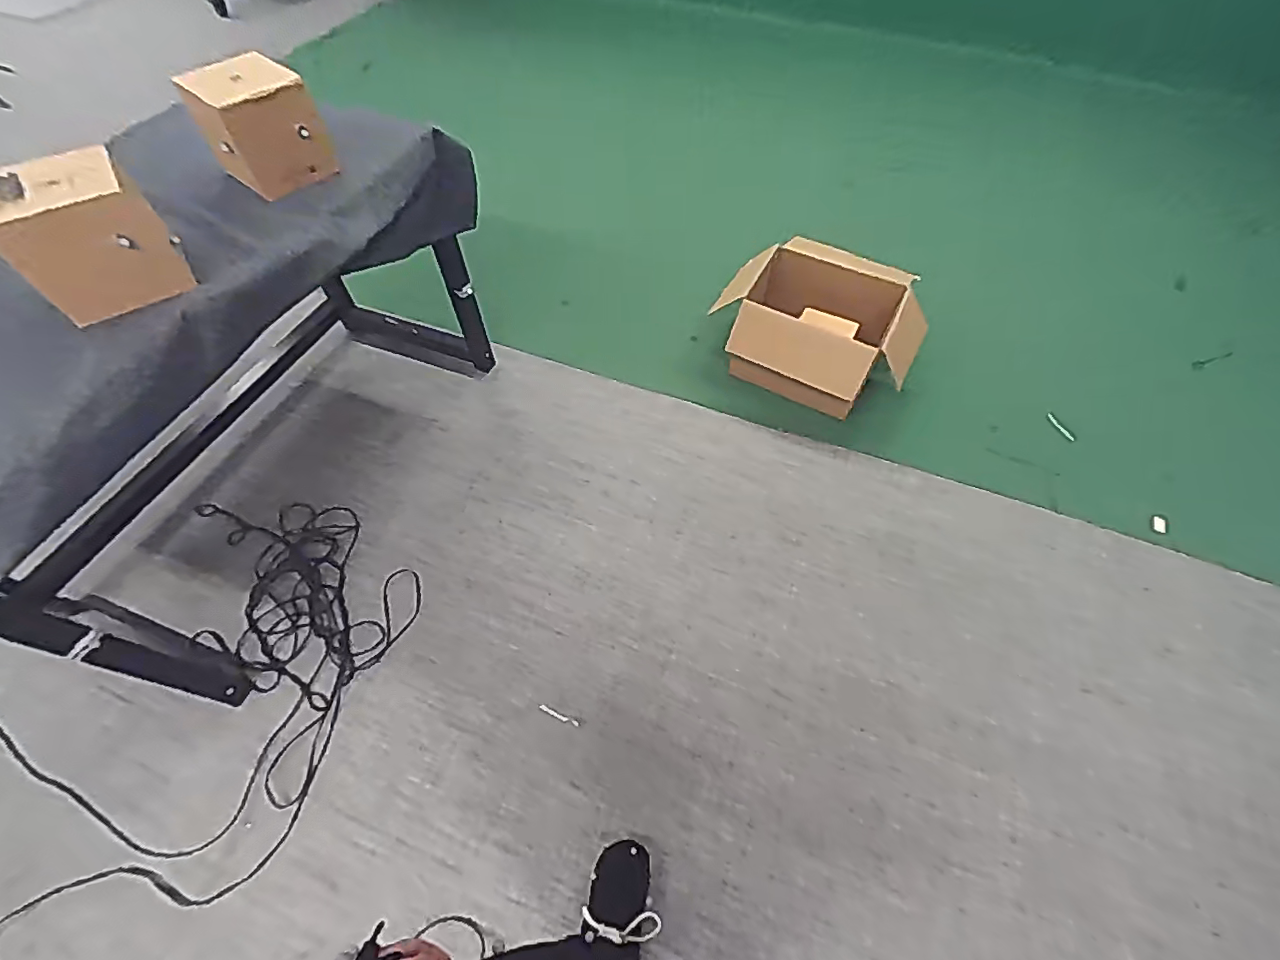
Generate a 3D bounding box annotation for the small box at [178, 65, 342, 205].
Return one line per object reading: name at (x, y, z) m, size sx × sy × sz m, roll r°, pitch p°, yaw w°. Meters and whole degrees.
small box at (-0.726, -0.665, 1.053) m, size 0.179 × 0.176 × 0.168 m, roll 34°, pitch 62°, yaw 21°
